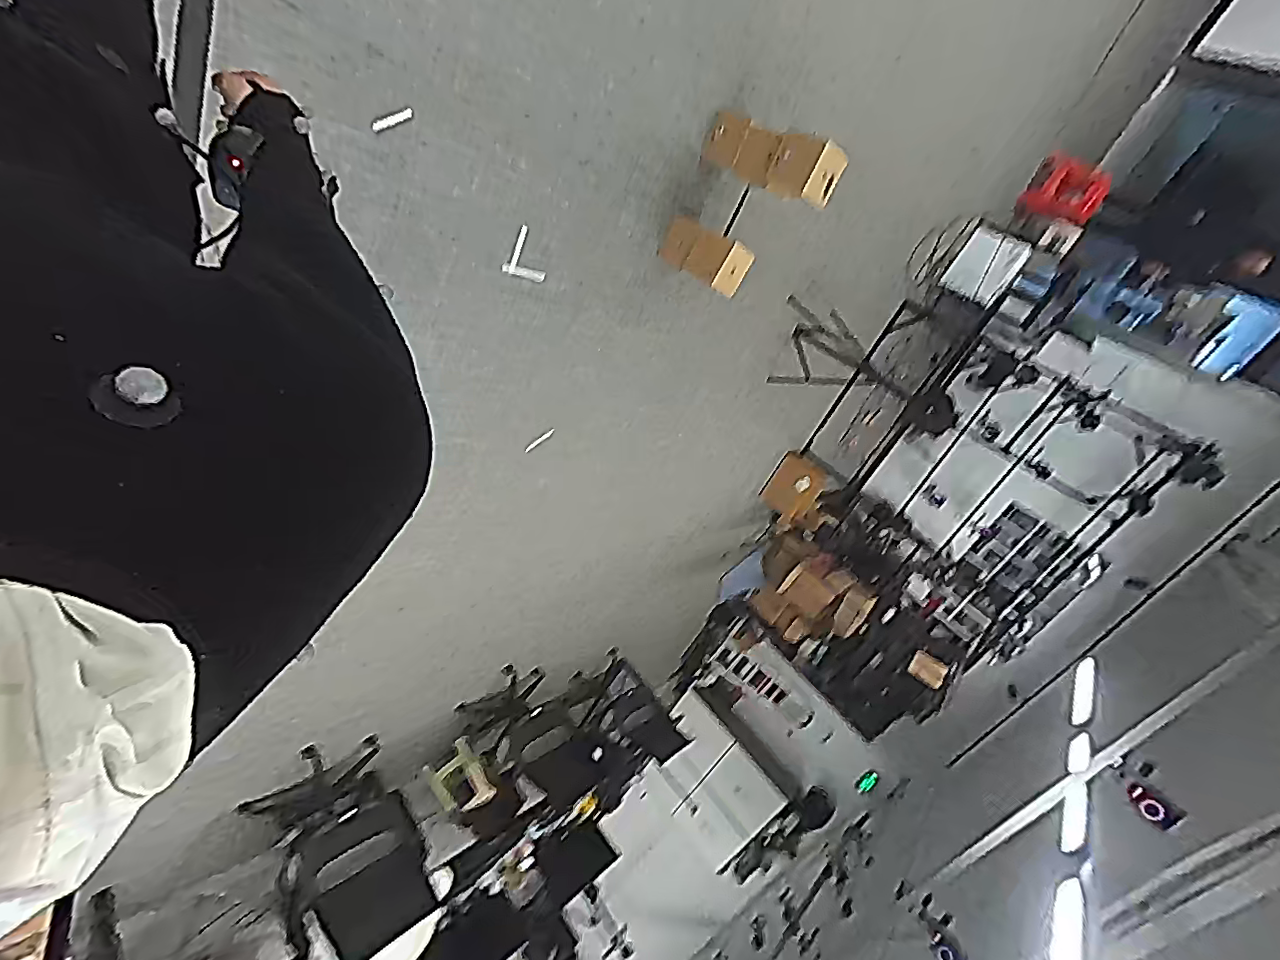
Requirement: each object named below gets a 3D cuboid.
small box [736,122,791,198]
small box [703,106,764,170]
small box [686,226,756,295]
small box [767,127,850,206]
[{"bbox_3d":[0.472,-1.149,1.937,0.168,0.176,0.179,-10,134,-46],"label":"small box"},{"bbox_3d":[0.371,-1.256,2.010,0.179,0.176,0.168,-9,133,-47],"label":"small box"},{"bbox_3d":[0.308,-0.849,2.087,0.168,0.176,0.179,2,126,-53],"label":"small box"},{"bbox_3d":[0.568,-1.063,1.830,0.179,0.176,0.168,-5,129,-48],"label":"small box"}]
